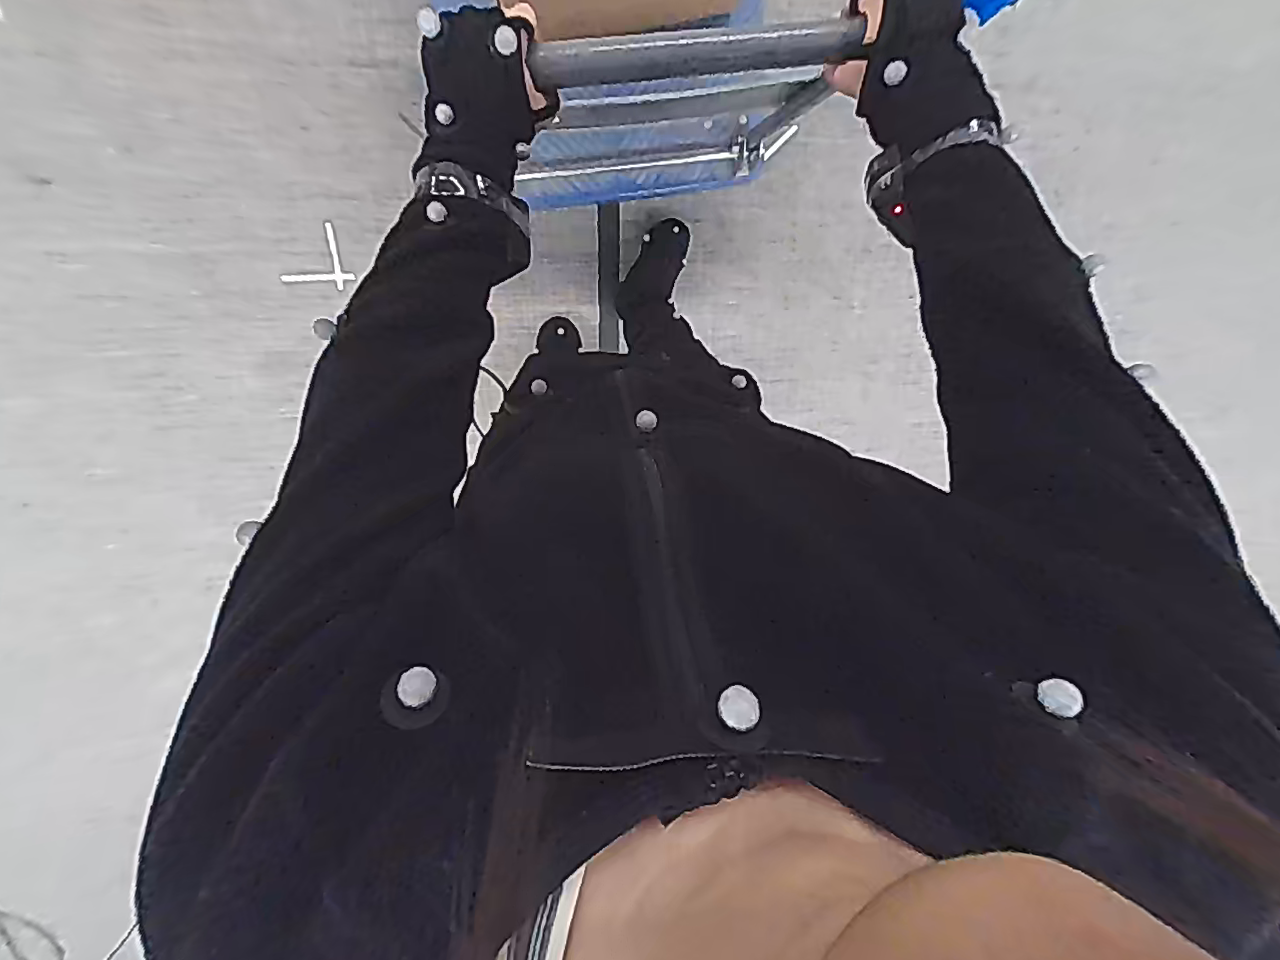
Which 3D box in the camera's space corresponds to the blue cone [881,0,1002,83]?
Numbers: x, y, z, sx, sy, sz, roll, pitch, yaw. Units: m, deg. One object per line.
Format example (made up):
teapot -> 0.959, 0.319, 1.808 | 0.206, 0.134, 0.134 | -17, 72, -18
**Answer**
blue cone -> 0.639, -0.919, 1.025 | 0.193, 0.380, 0.192 | -7, 112, -6
